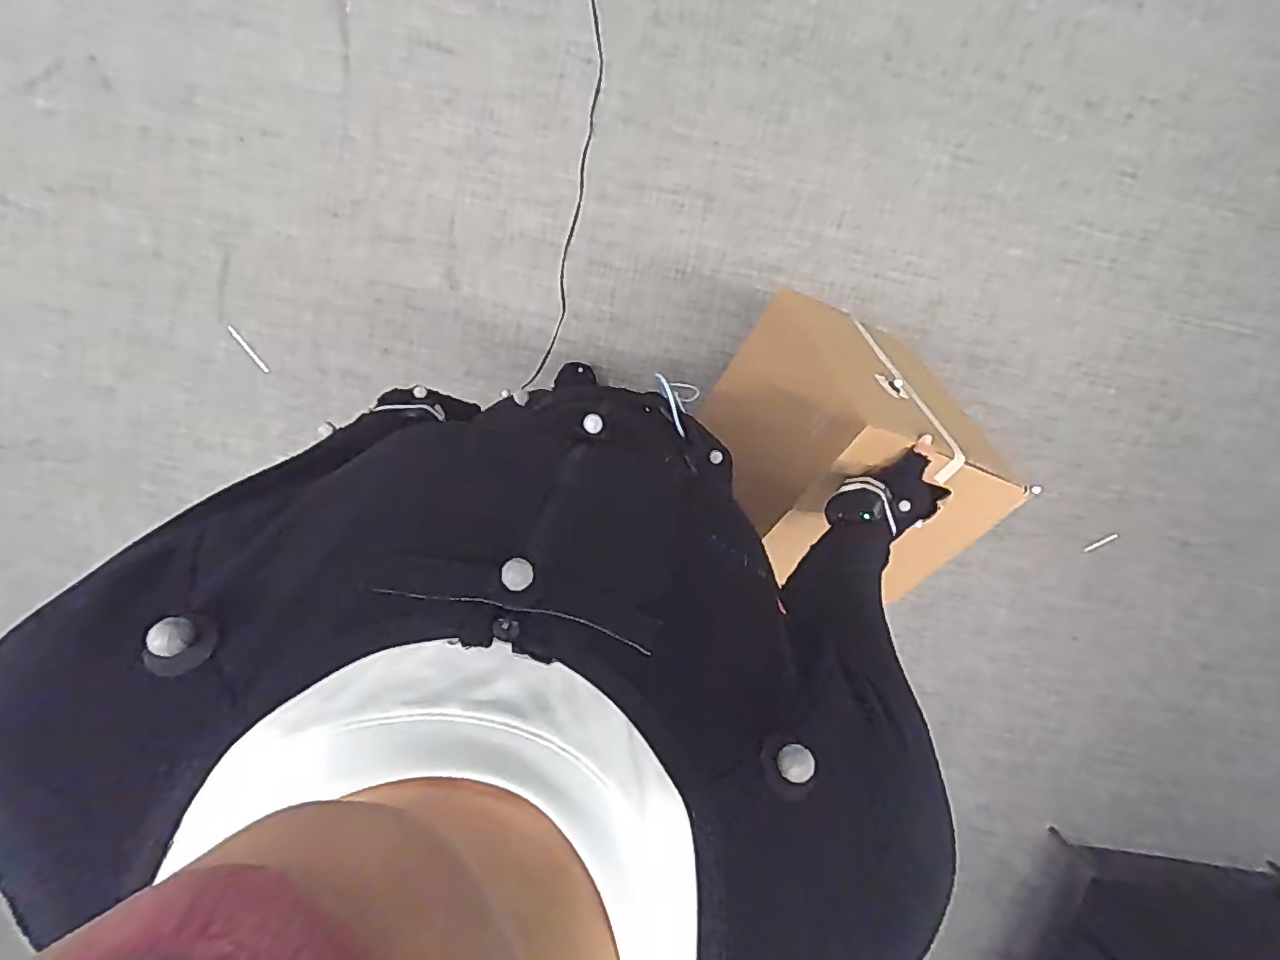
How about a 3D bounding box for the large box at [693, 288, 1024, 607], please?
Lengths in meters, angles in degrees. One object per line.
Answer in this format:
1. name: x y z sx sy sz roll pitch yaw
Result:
1. large box: 0.323 -0.054 0.933 0.320 0.408 0.320 16 130 -21
